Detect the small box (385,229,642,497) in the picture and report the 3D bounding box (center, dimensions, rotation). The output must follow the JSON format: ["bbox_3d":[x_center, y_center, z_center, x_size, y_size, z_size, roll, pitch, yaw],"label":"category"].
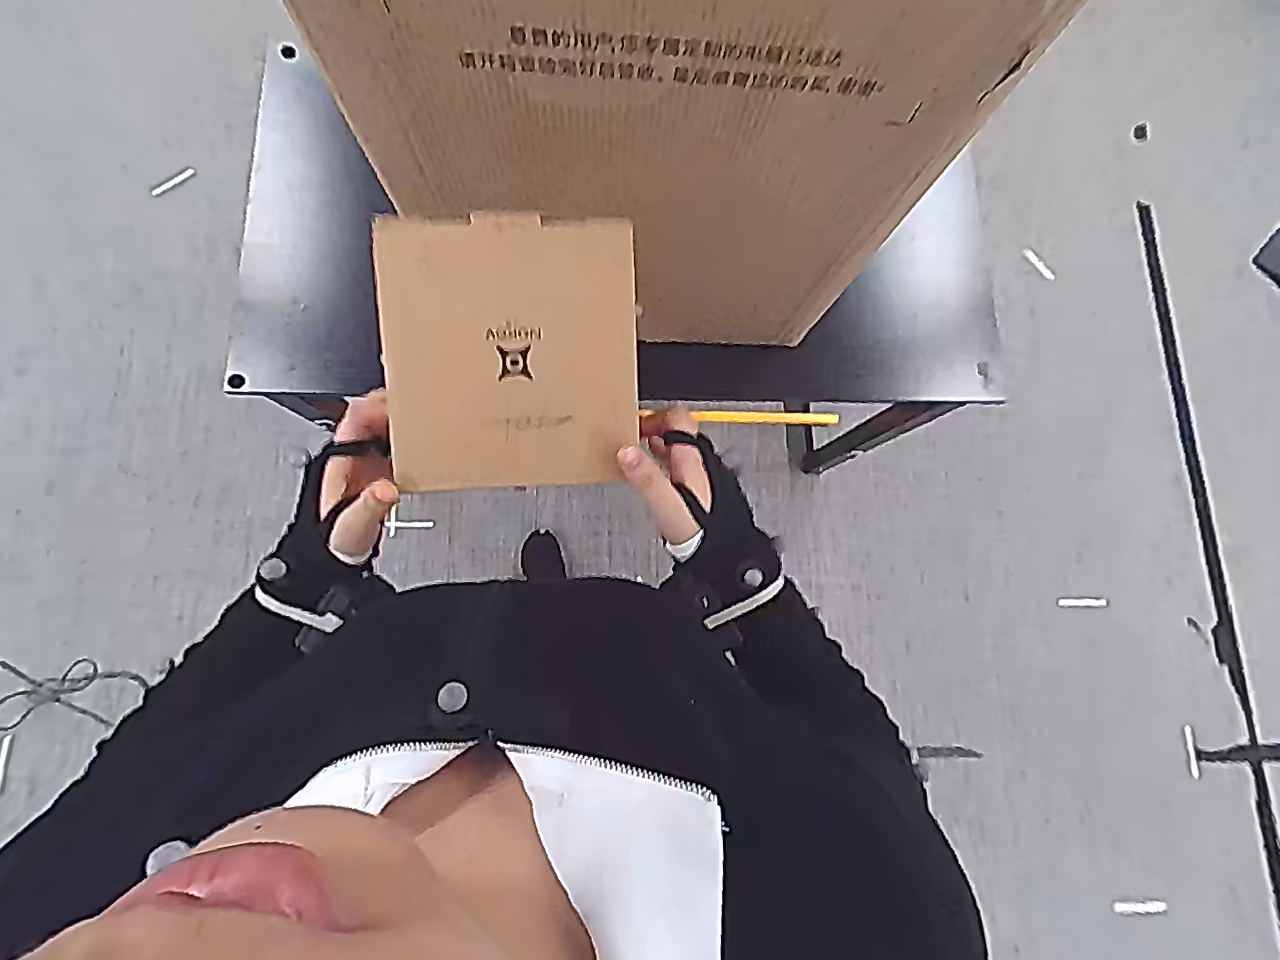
[{"bbox_3d":[-0.093,-0.084,0.443,0.168,0.176,0.179,-3,96,-8],"label":"small box"}]
